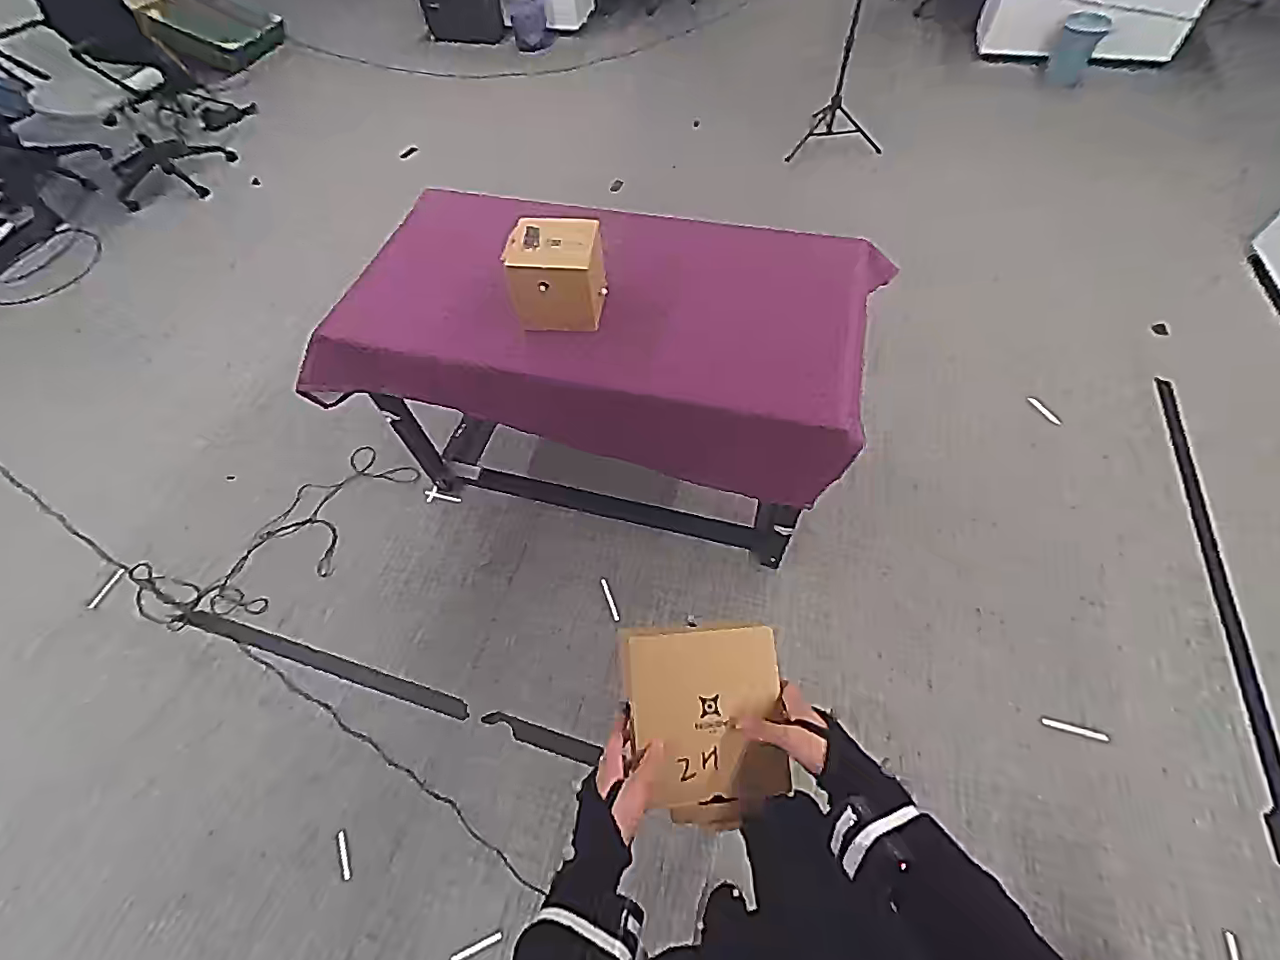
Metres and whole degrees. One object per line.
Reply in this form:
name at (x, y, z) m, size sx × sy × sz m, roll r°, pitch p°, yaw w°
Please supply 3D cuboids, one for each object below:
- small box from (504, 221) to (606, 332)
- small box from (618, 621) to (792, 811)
small box at (-0.178, -0.444, 1.189) m, size 0.179 × 0.176 × 0.168 m, roll 3°, pitch 58°, yaw 5°
small box at (0.064, 0.267, 0.655) m, size 0.168 × 0.176 × 0.179 m, roll -4°, pitch 78°, yaw -7°
